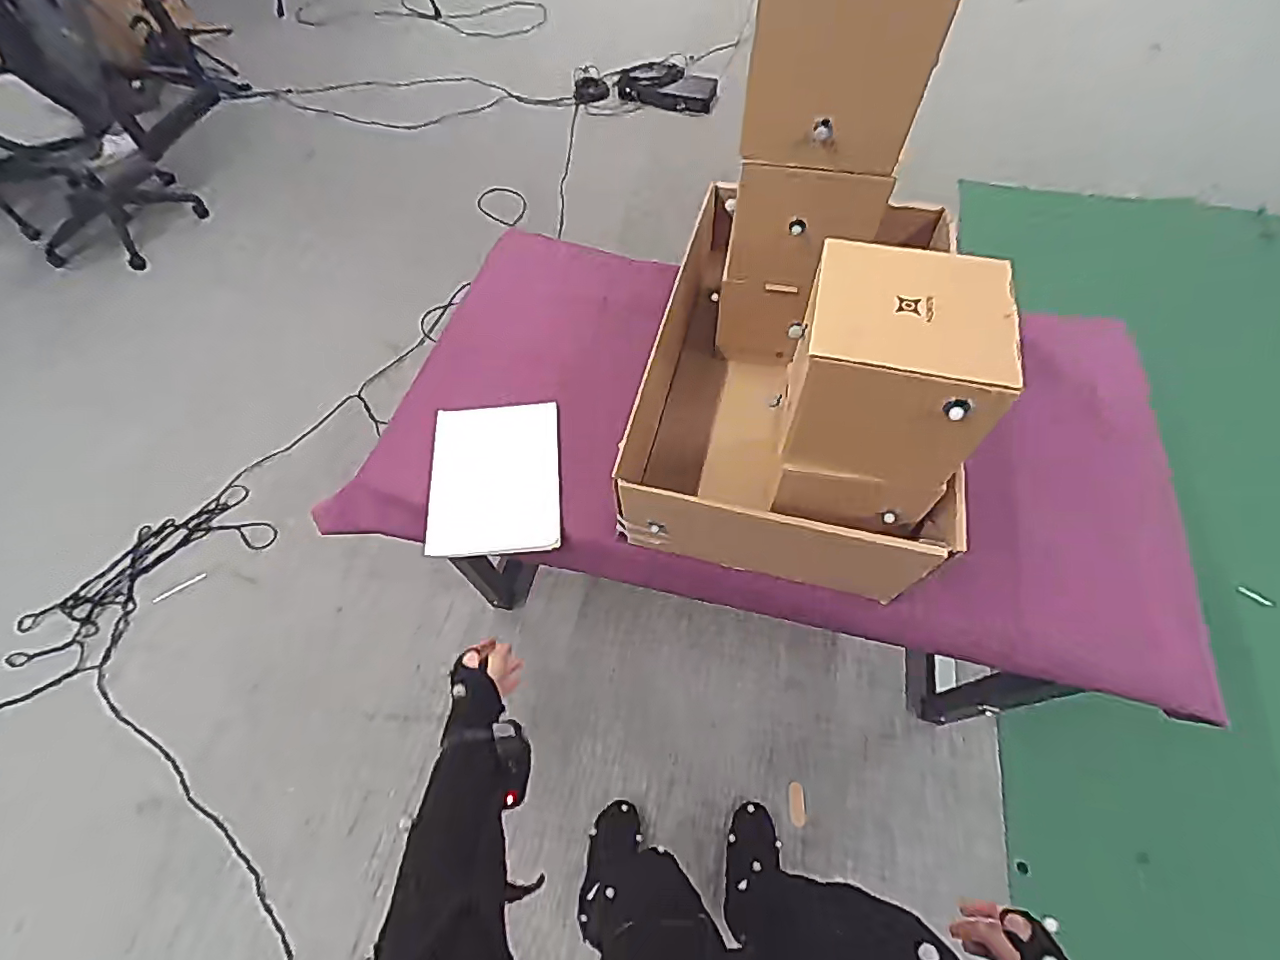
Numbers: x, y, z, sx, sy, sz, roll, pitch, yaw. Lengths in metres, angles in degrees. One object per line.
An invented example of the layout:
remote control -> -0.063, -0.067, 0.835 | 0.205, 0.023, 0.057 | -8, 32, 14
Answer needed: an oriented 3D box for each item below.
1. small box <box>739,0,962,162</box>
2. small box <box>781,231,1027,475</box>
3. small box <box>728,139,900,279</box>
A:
small box -> 0.213, -0.468, 0.569 | 0.179, 0.176, 0.168 | 12, 63, 7
small box -> 0.253, -0.124, 0.558 | 0.179, 0.176, 0.168 | 12, 60, 9
small box -> 0.220, -0.387, 0.711 | 0.179, 0.176, 0.168 | 9, 62, 8
